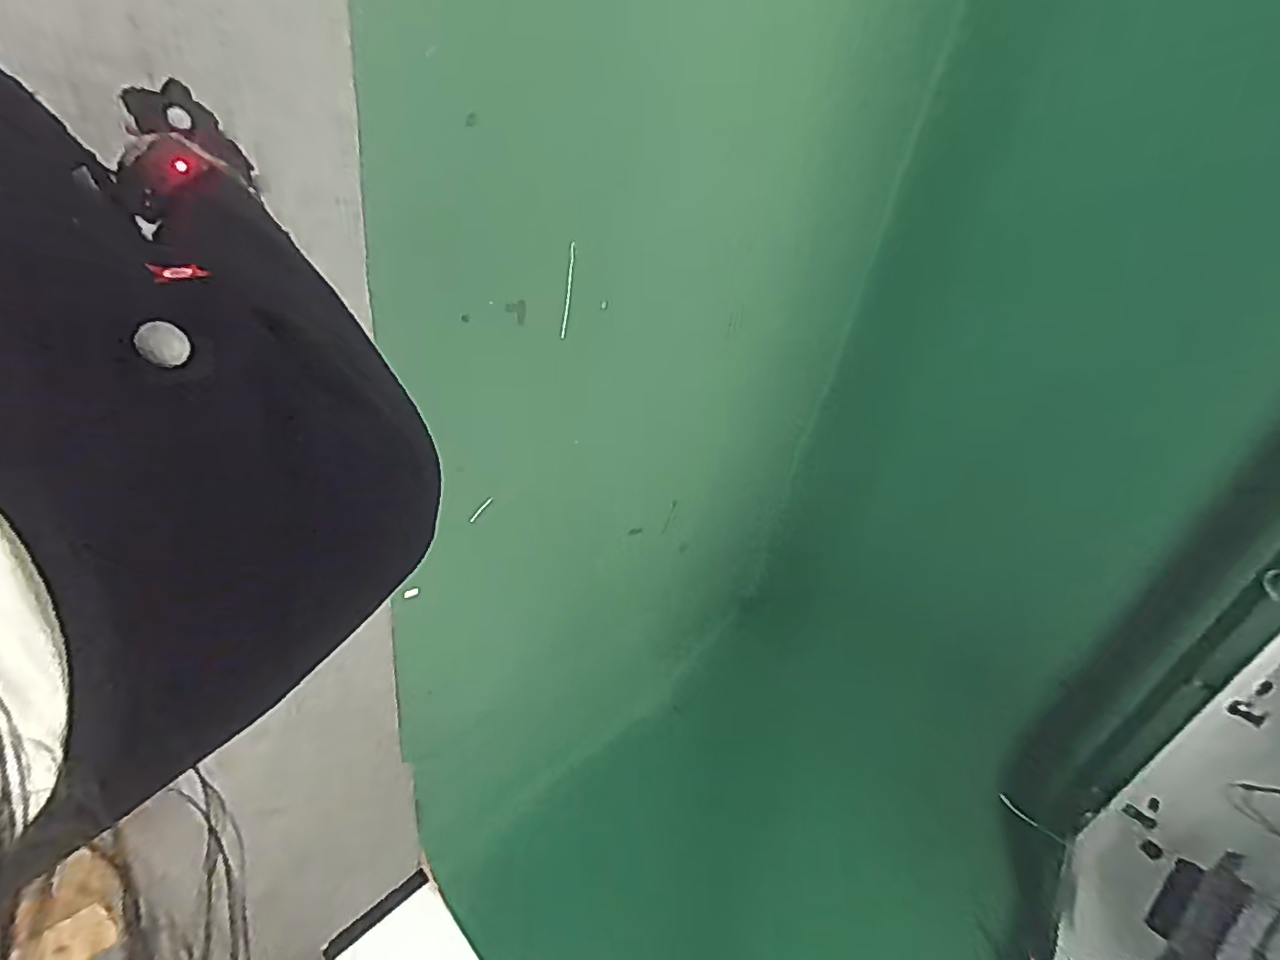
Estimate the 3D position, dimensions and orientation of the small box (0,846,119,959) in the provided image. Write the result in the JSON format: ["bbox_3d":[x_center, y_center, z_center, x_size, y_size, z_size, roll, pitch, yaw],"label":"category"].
[{"bbox_3d":[-1.333,0.991,1.231,0.168,0.176,0.179,-21,131,-46],"label":"small box"}]

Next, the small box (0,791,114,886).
[{"bbox_3d":[-1.441,0.914,1.324,0.179,0.176,0.168,-18,129,-46],"label":"small box"}]
